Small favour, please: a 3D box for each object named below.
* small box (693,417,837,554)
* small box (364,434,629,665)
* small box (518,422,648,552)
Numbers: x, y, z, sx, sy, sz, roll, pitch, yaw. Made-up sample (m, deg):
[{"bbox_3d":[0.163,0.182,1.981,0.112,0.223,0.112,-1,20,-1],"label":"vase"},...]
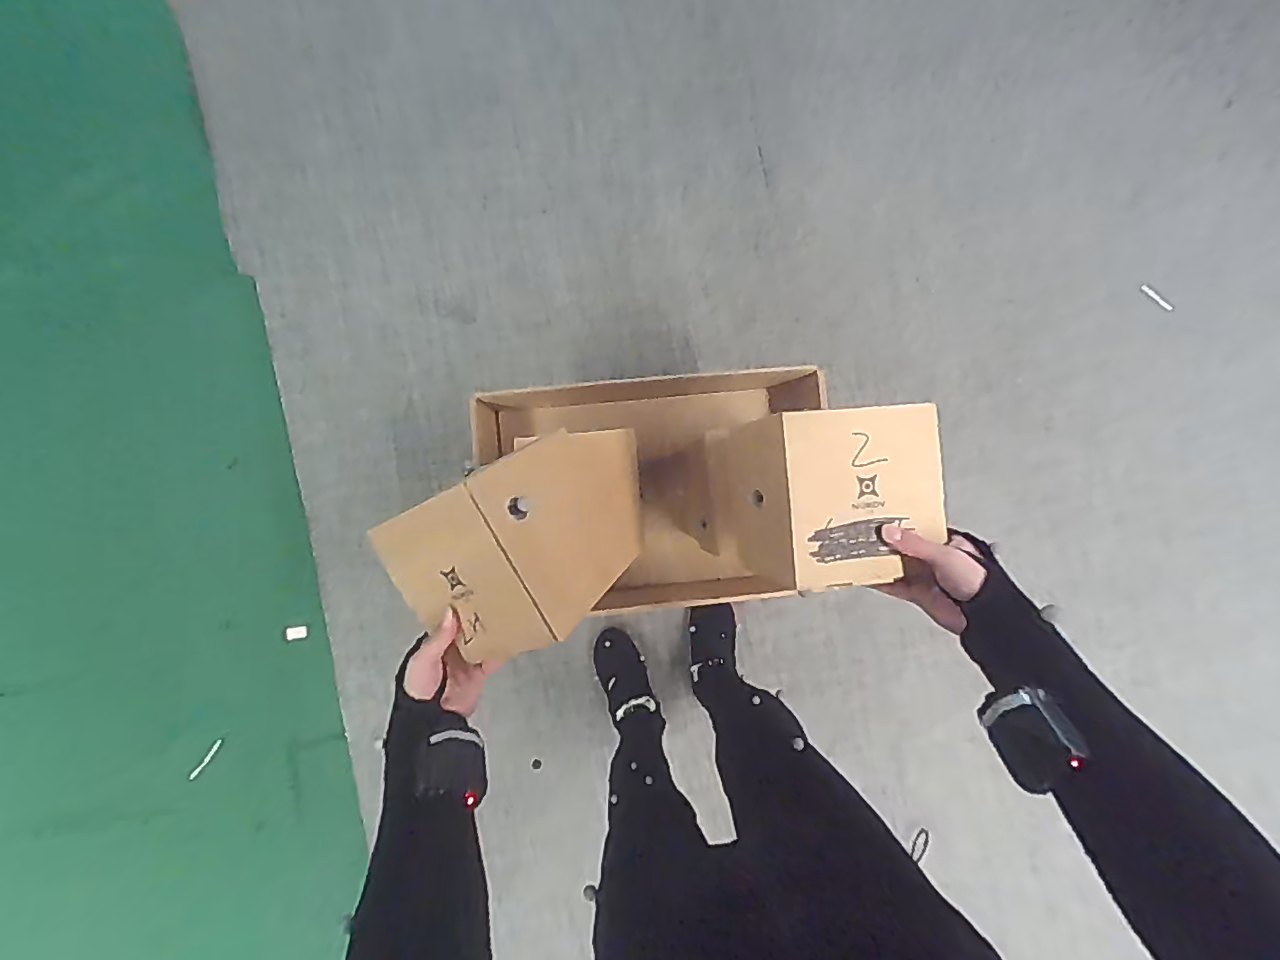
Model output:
[{"bbox_3d":[0.176,0.008,0.804,0.168,0.176,0.179,-5,88,-3],"label":"small box"},{"bbox_3d":[-0.141,0.065,0.577,0.168,0.176,0.179,-21,102,33],"label":"small box"},{"bbox_3d":[-0.081,0.017,0.799,0.168,0.176,0.179,-5,89,-2],"label":"small box"}]
